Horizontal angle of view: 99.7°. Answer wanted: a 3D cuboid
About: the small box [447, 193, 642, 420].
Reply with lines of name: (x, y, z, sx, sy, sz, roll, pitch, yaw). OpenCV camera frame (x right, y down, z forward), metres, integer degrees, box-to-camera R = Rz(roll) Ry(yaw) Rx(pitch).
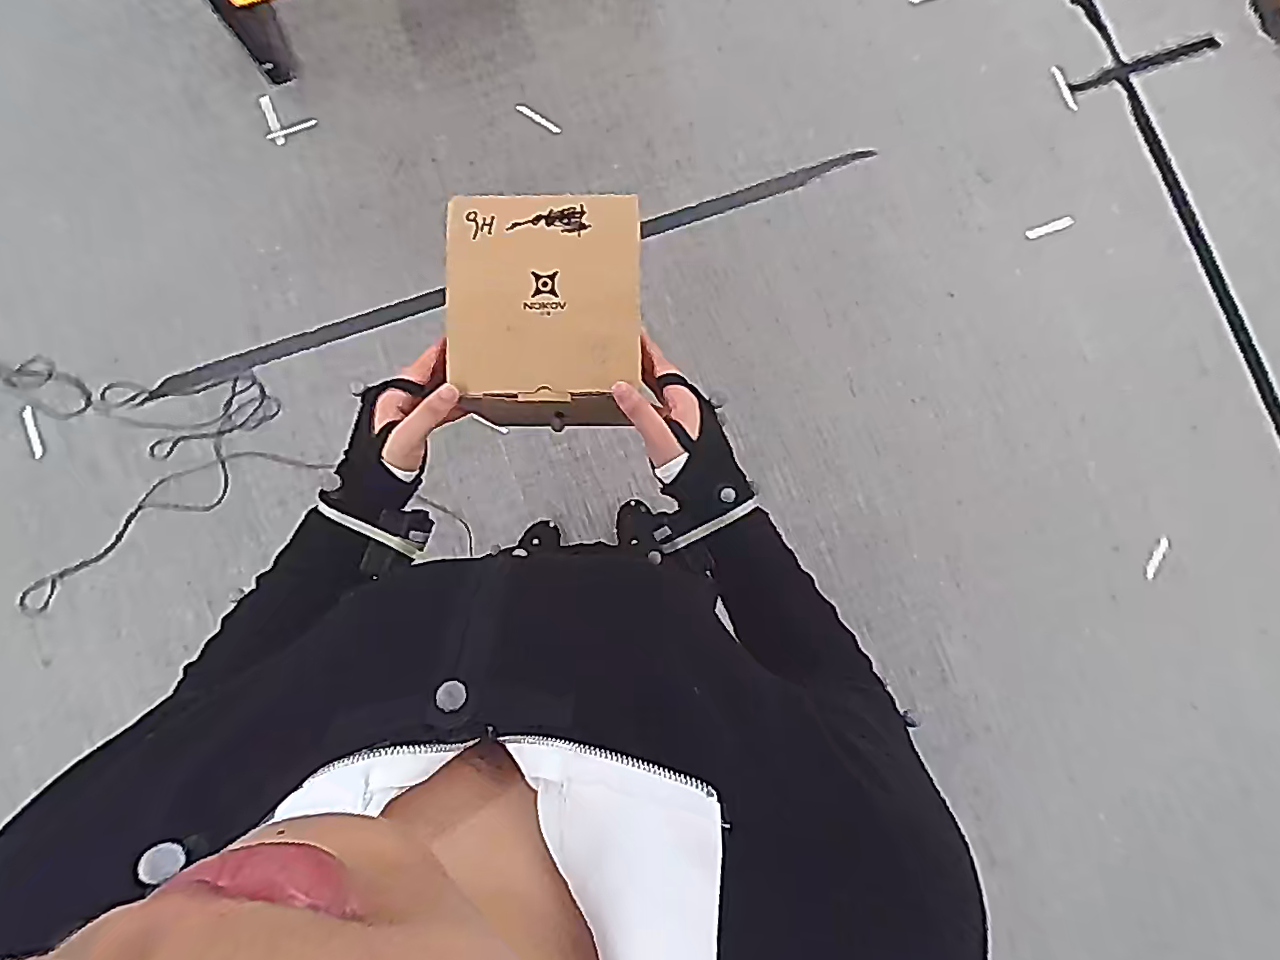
small box: (-0.082, -0.155, 0.541, 0.168, 0.176, 0.179, -2, 88, -1)
